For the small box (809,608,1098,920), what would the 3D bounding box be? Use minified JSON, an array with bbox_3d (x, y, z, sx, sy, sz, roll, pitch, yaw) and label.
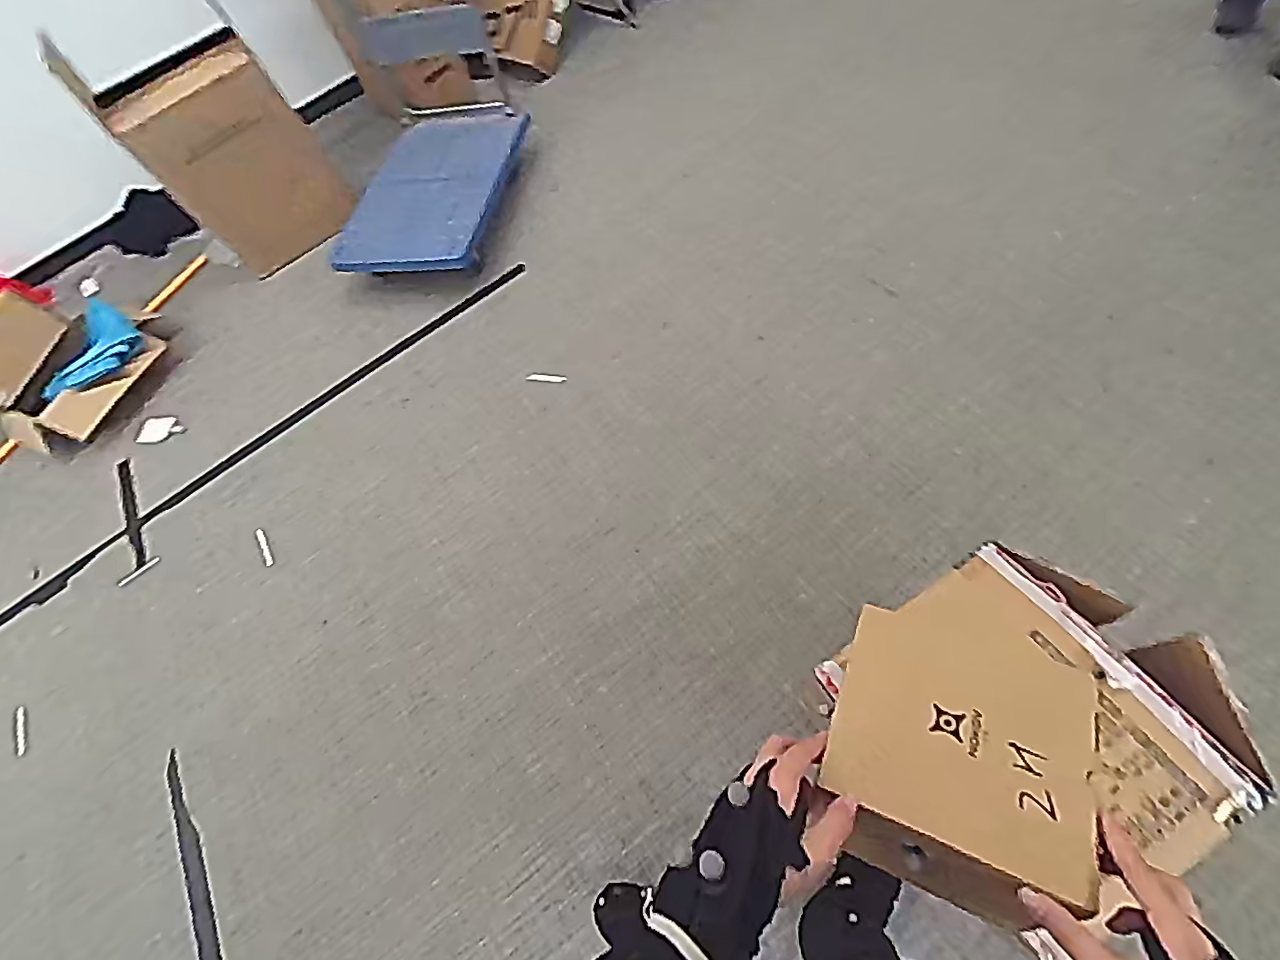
[{"bbox_3d":[0.254,0.244,0.467,0.179,0.176,0.168,14,54,25],"label":"small box"}]
